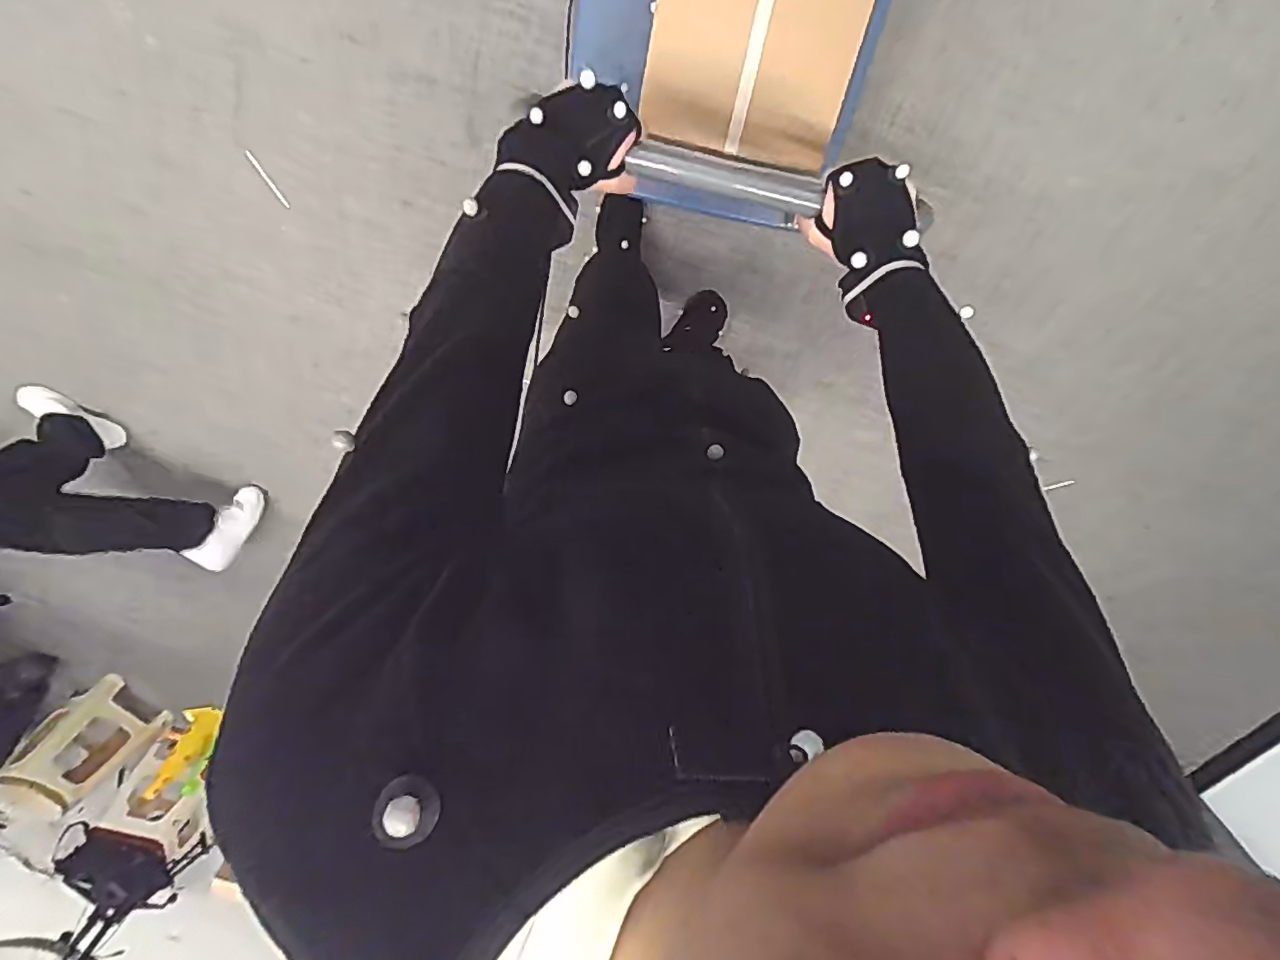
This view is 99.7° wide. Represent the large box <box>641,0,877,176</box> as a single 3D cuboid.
[{"bbox_3d":[0.193,-0.767,0.912,0.320,0.320,0.408,11,119,-4],"label":"large box"}]
